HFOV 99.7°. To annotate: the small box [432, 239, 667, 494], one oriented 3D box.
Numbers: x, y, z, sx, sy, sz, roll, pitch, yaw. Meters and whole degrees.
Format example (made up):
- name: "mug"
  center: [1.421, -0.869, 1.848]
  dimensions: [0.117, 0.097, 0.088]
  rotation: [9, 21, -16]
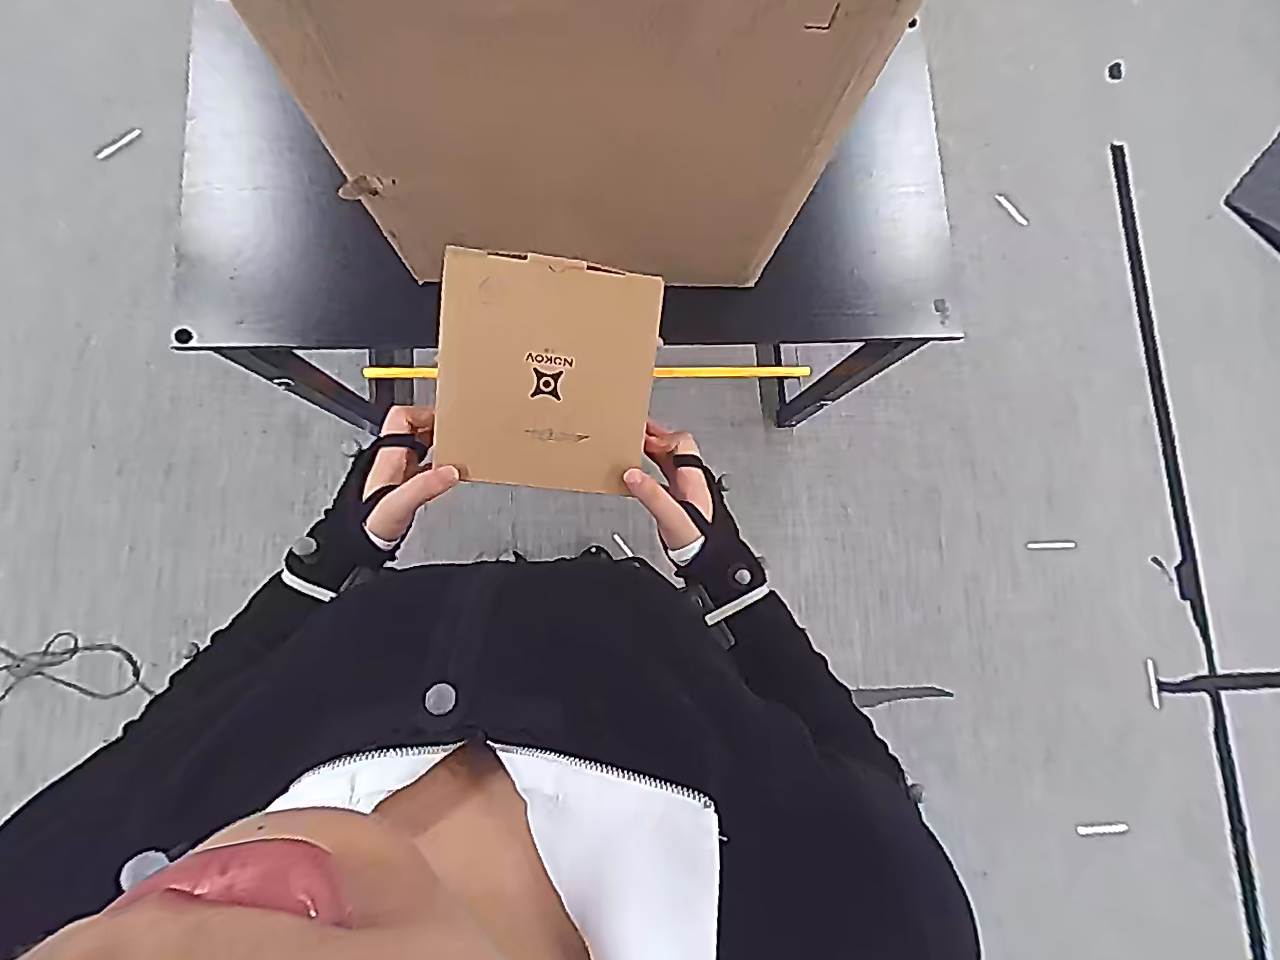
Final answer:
- name: "small box"
  center: [-0.079, -0.096, 0.491]
  dimensions: [0.168, 0.176, 0.179]
  rotation: [6, 101, -7]
